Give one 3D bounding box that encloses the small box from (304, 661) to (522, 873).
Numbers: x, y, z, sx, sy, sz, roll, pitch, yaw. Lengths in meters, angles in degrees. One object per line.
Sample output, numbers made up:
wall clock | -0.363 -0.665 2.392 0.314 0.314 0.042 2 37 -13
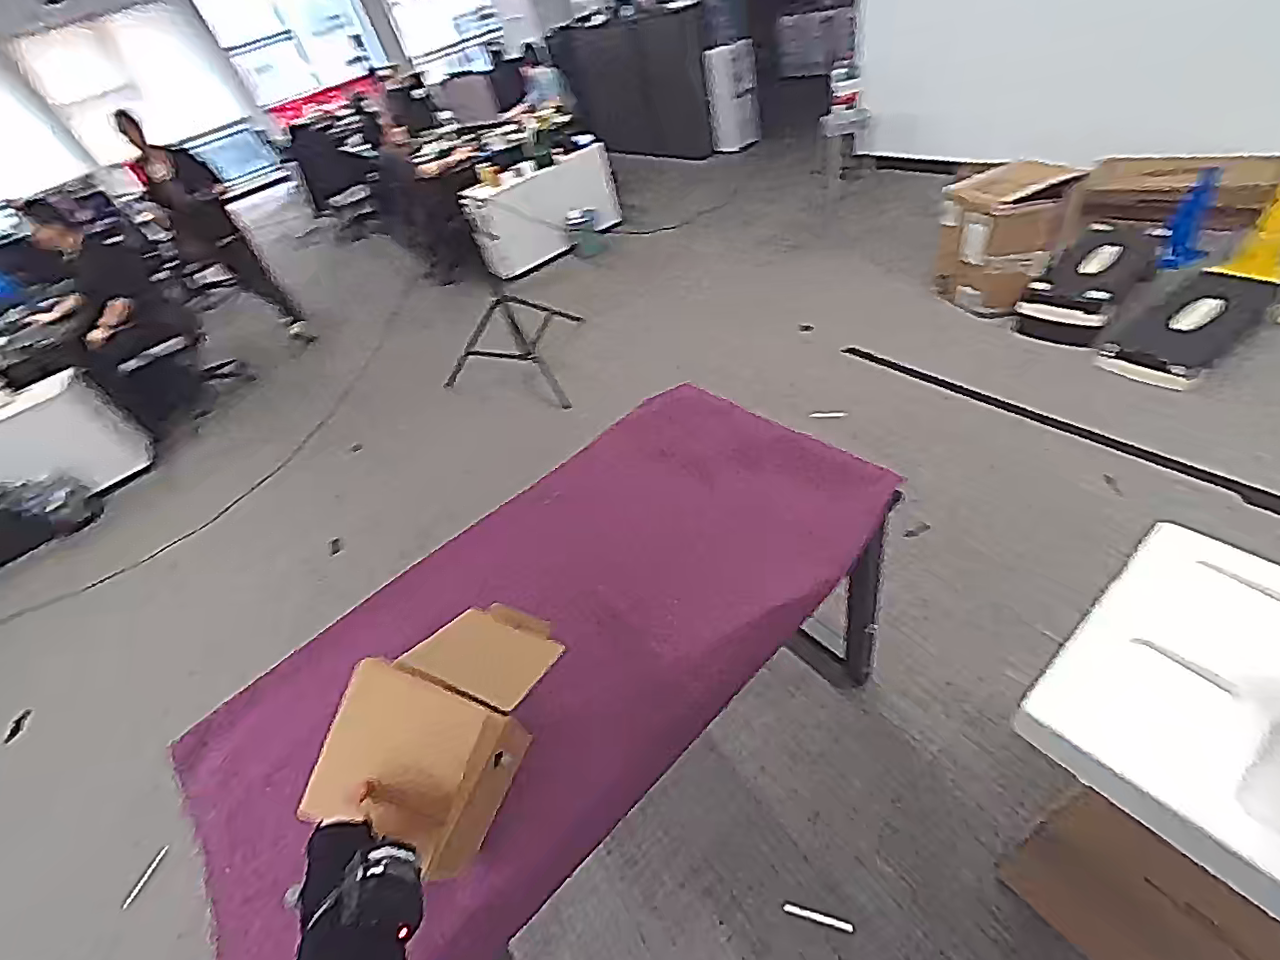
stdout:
small box | -0.265 0.364 0.686 0.168 0.176 0.179 17 57 12
